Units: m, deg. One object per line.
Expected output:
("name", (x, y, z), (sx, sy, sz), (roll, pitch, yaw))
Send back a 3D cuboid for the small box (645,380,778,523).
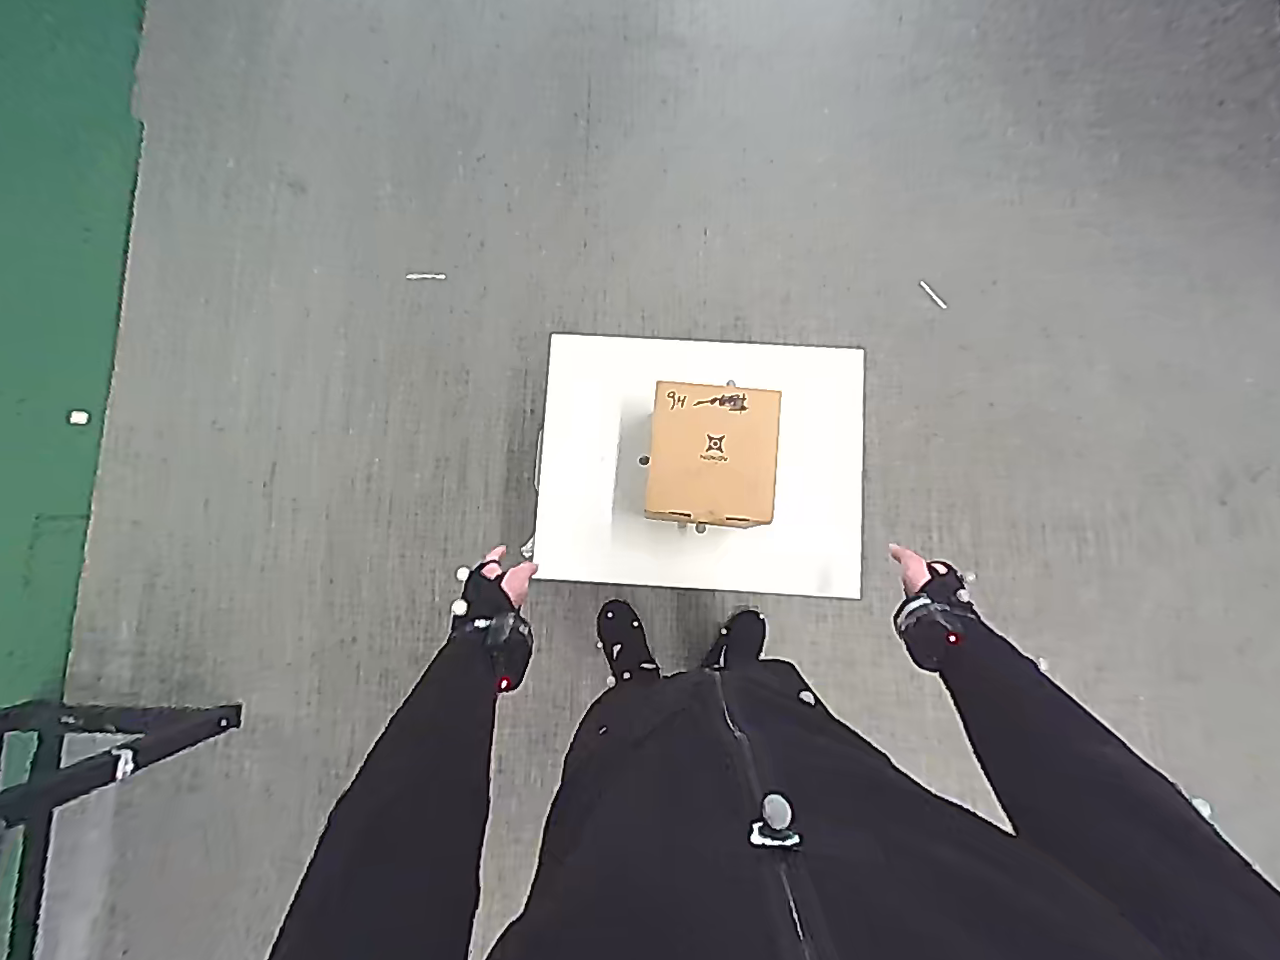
("small box", (0.098, -0.032, 0.783), (0.168, 0.176, 0.179), (4, 82, 2))
